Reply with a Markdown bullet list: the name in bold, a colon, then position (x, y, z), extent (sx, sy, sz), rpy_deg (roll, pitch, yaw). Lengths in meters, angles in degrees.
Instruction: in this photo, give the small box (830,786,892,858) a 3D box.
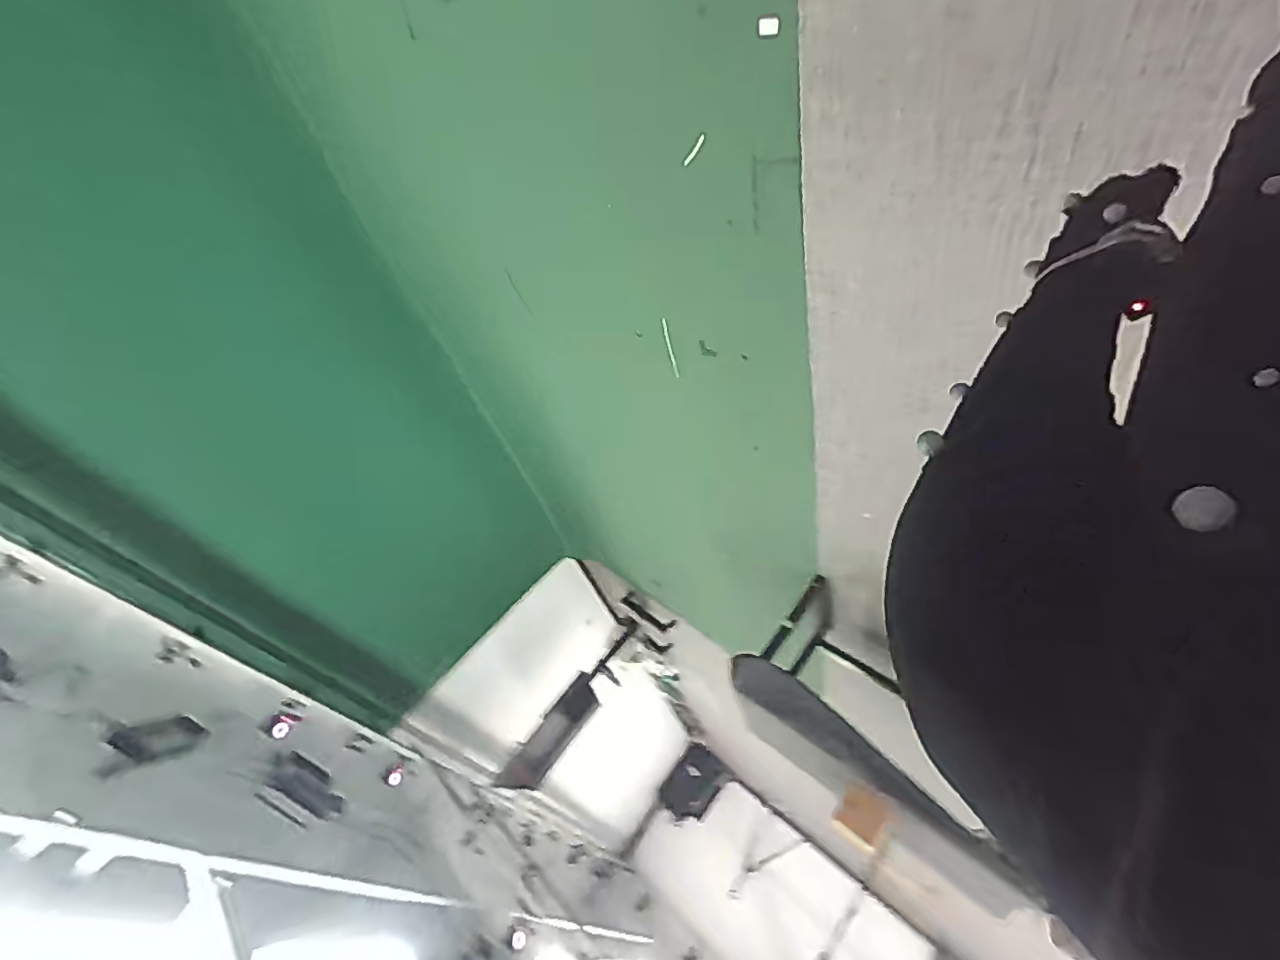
- **small box**: position (0.888, 1.369, 2.178), extent (0.179, 0.176, 0.168), rpy_deg (25, 153, 38)
